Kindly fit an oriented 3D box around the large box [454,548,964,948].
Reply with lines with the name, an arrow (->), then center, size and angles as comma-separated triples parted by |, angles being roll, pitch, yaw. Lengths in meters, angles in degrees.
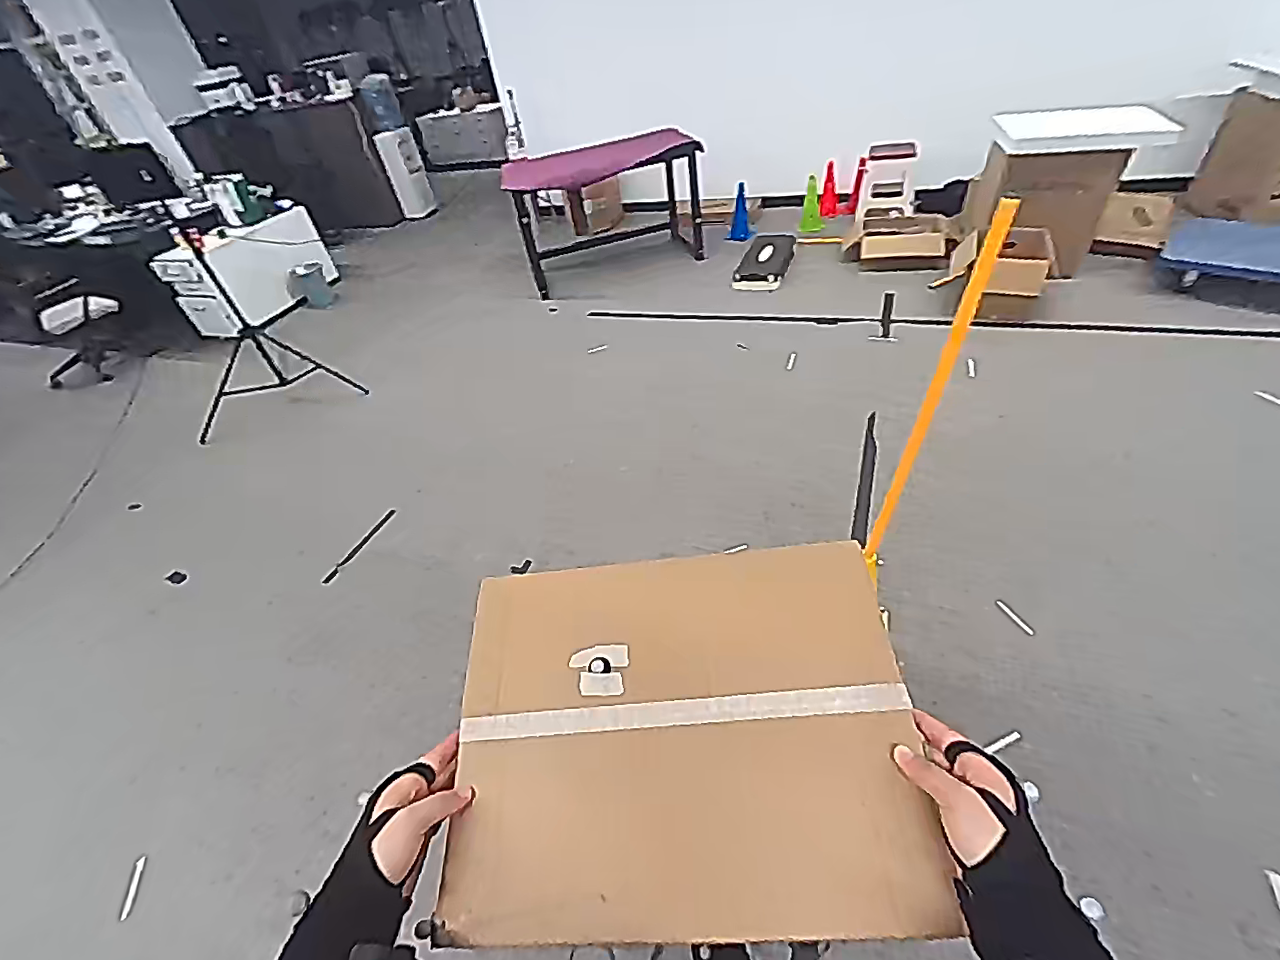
large box -> 0.063, 0.305, 0.619 | 0.408, 0.320, 0.320 | -8, 54, 7
